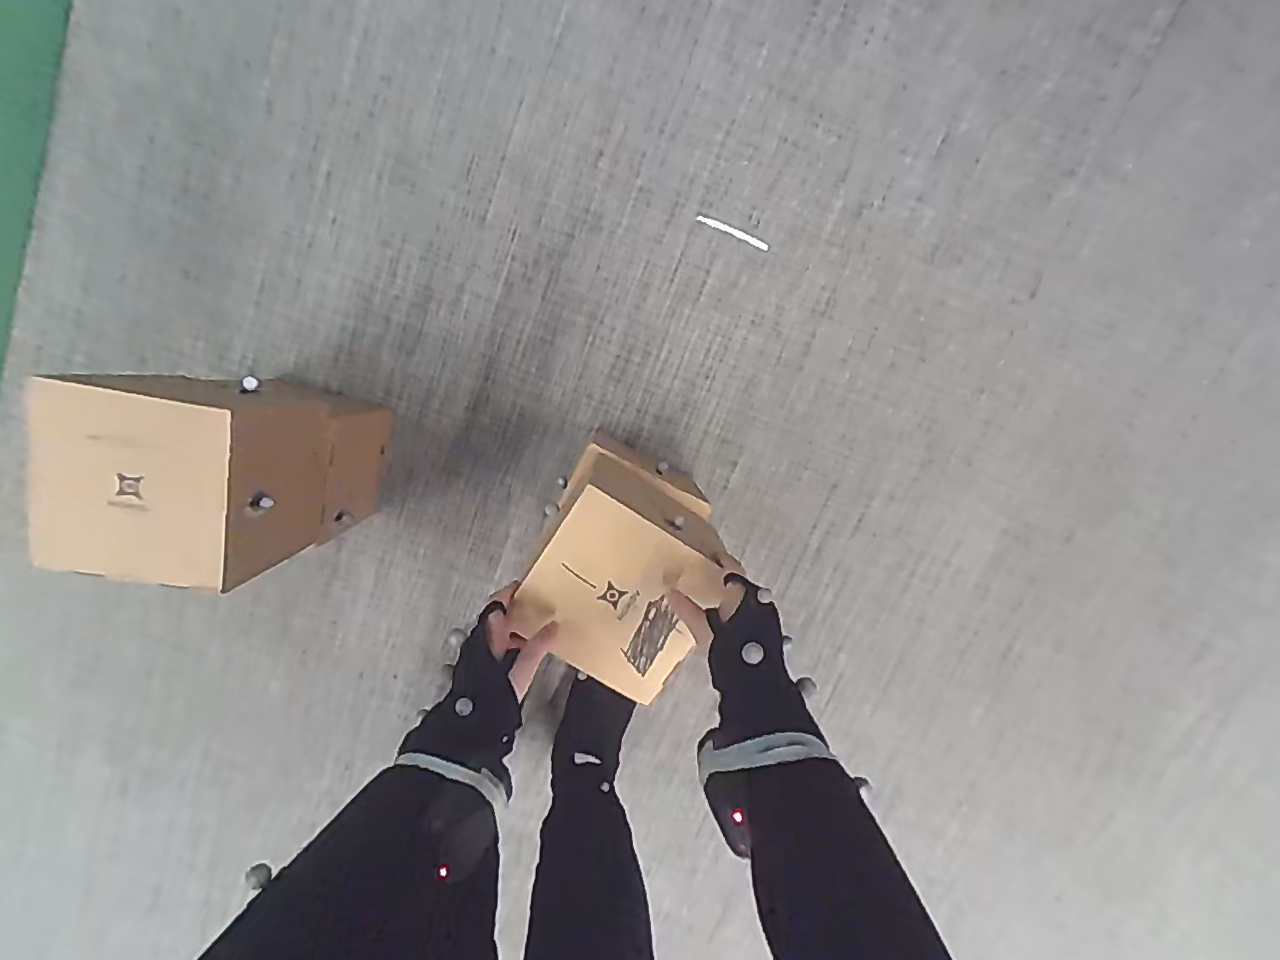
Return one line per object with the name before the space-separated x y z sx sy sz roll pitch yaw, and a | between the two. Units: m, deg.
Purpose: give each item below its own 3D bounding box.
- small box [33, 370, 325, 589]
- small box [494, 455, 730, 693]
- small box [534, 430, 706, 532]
small box | -0.455 -0.011 0.560 0.168 0.176 0.179 11 100 -6
small box | -0.028 0.089 0.601 0.179 0.176 0.168 33 100 -8
small box | -0.033 0.041 0.761 0.179 0.176 0.168 28 99 -9
